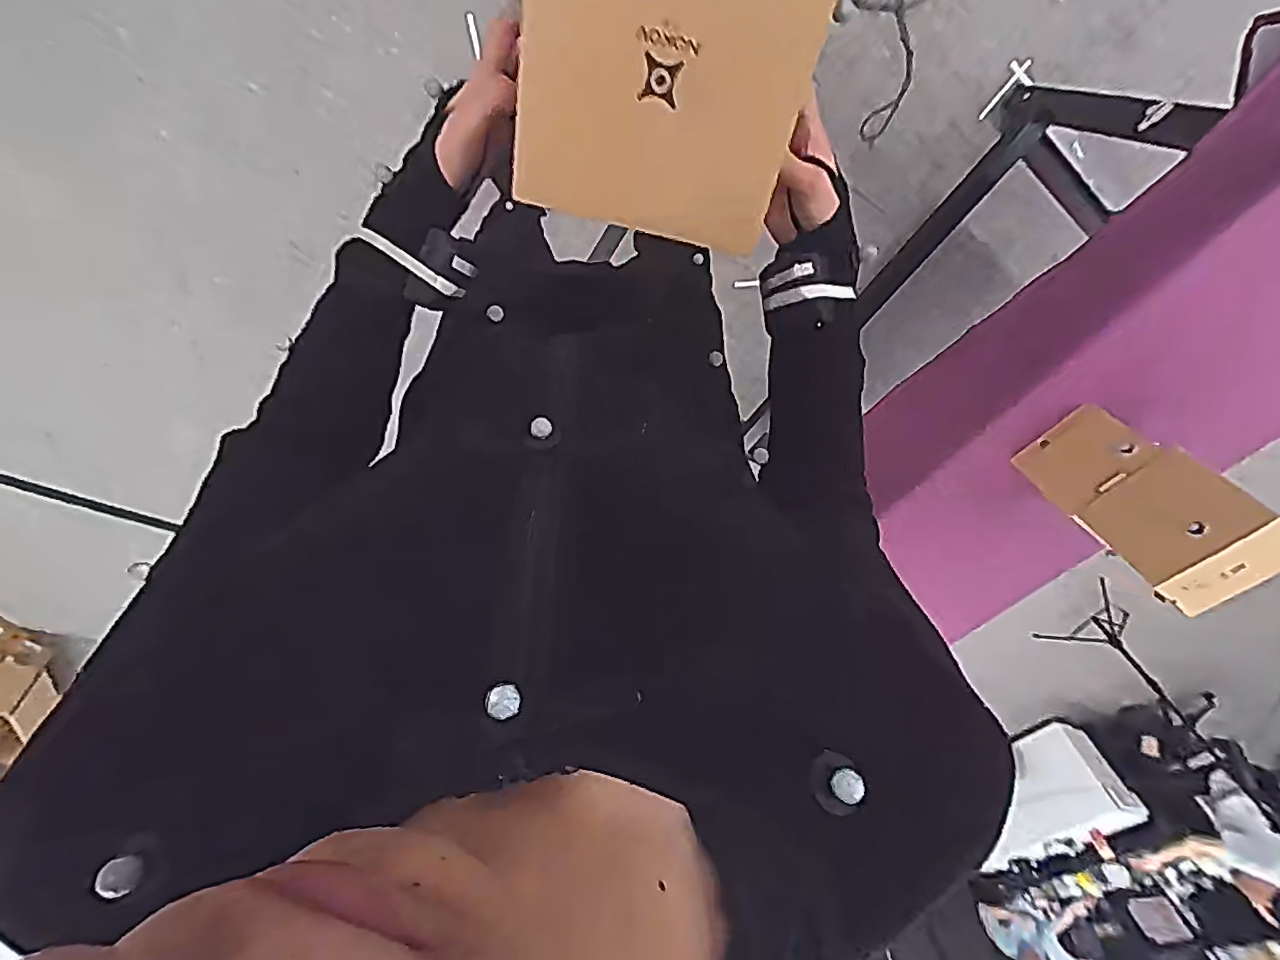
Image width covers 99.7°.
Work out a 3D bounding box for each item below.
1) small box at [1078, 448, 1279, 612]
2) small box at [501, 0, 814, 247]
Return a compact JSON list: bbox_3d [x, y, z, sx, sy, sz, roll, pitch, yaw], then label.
[{"bbox_3d":[0.879,0.079,0.875,0.168,0.176,0.179,26,122,-27],"label":"small box"},{"bbox_3d":[0.012,-0.288,0.368,0.168,0.176,0.179,12,128,-3],"label":"small box"}]
